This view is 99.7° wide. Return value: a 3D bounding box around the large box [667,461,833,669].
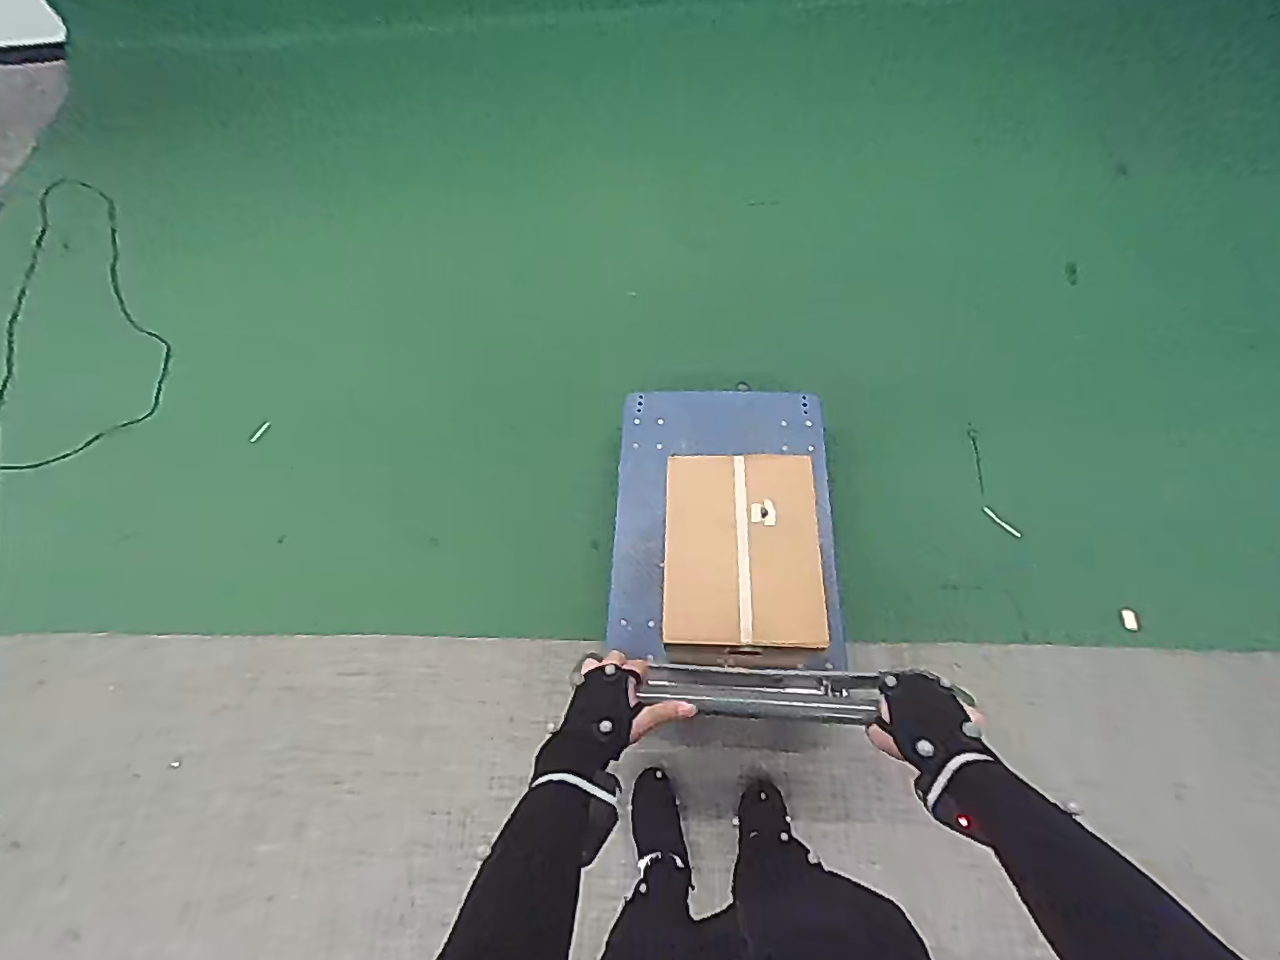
[{"bbox_3d":[0.227,0.205,1.233,0.320,0.320,0.408,1,64,5],"label":"large box"}]
